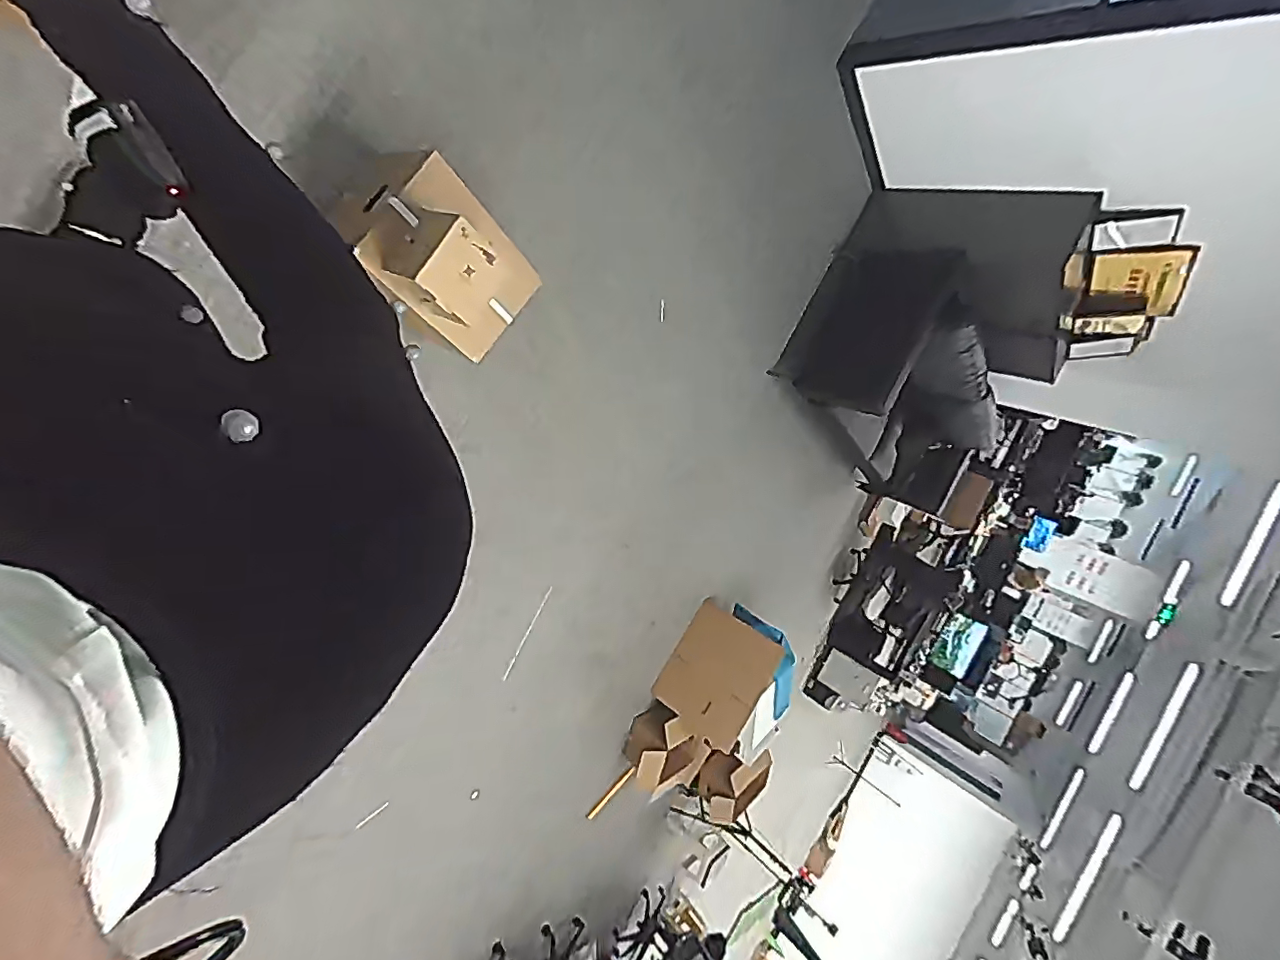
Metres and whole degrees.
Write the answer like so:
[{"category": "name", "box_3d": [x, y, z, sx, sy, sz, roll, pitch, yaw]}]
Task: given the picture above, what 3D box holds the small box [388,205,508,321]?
[{"category": "small box", "box_3d": [-0.445, -0.498, 1.236, 0.179, 0.176, 0.168, -57, 142, -5]}]
